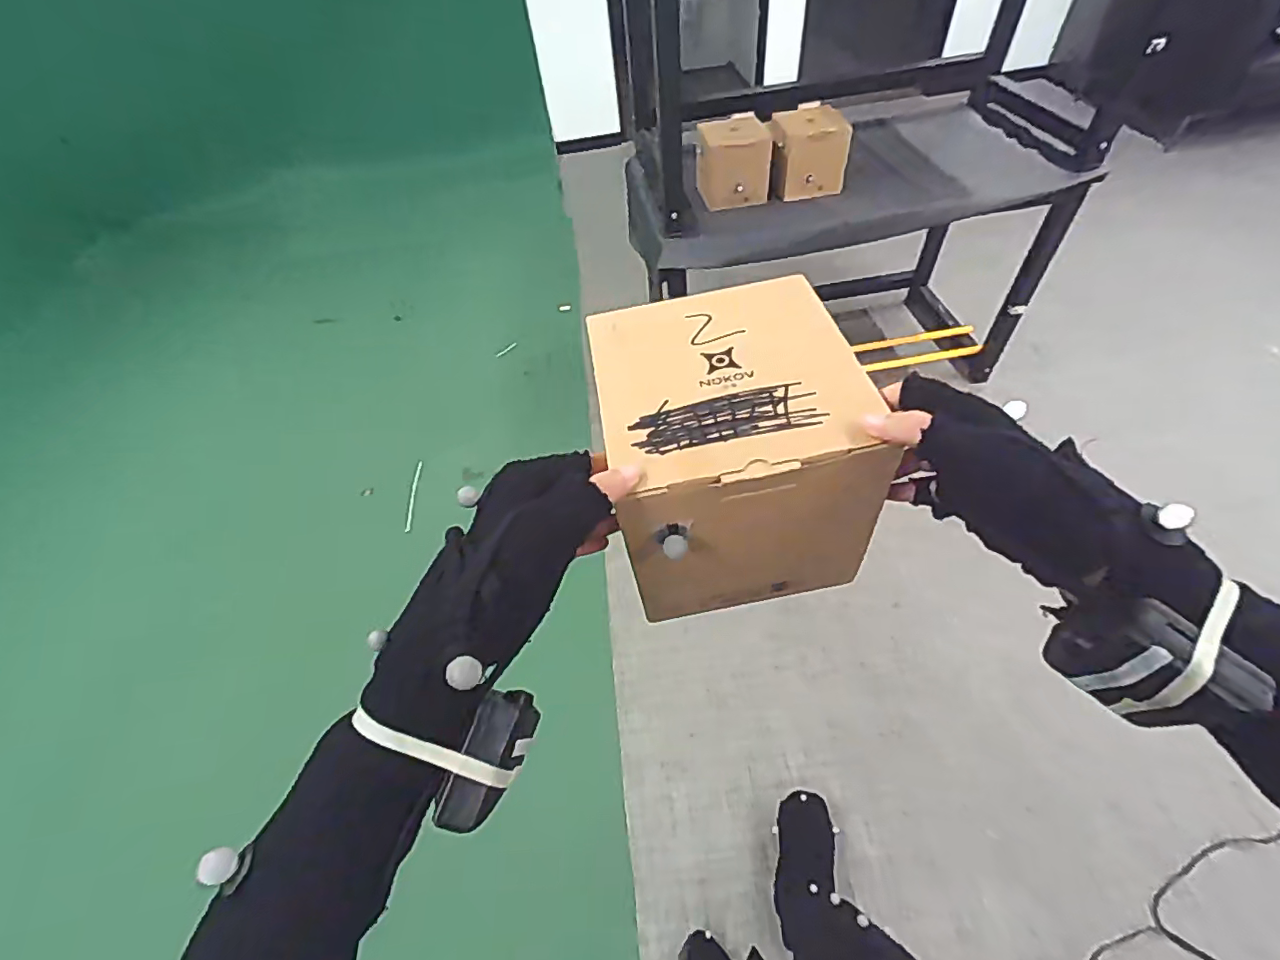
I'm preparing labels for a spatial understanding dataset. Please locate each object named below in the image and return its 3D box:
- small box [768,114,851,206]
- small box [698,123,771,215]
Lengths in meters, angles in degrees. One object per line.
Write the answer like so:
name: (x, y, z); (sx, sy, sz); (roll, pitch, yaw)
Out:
small box: (0.462, -0.893, 1.512); (0.168, 0.176, 0.179); (-9, 51, -1)
small box: (0.256, -0.867, 1.510); (0.168, 0.176, 0.179); (-10, 51, -1)
